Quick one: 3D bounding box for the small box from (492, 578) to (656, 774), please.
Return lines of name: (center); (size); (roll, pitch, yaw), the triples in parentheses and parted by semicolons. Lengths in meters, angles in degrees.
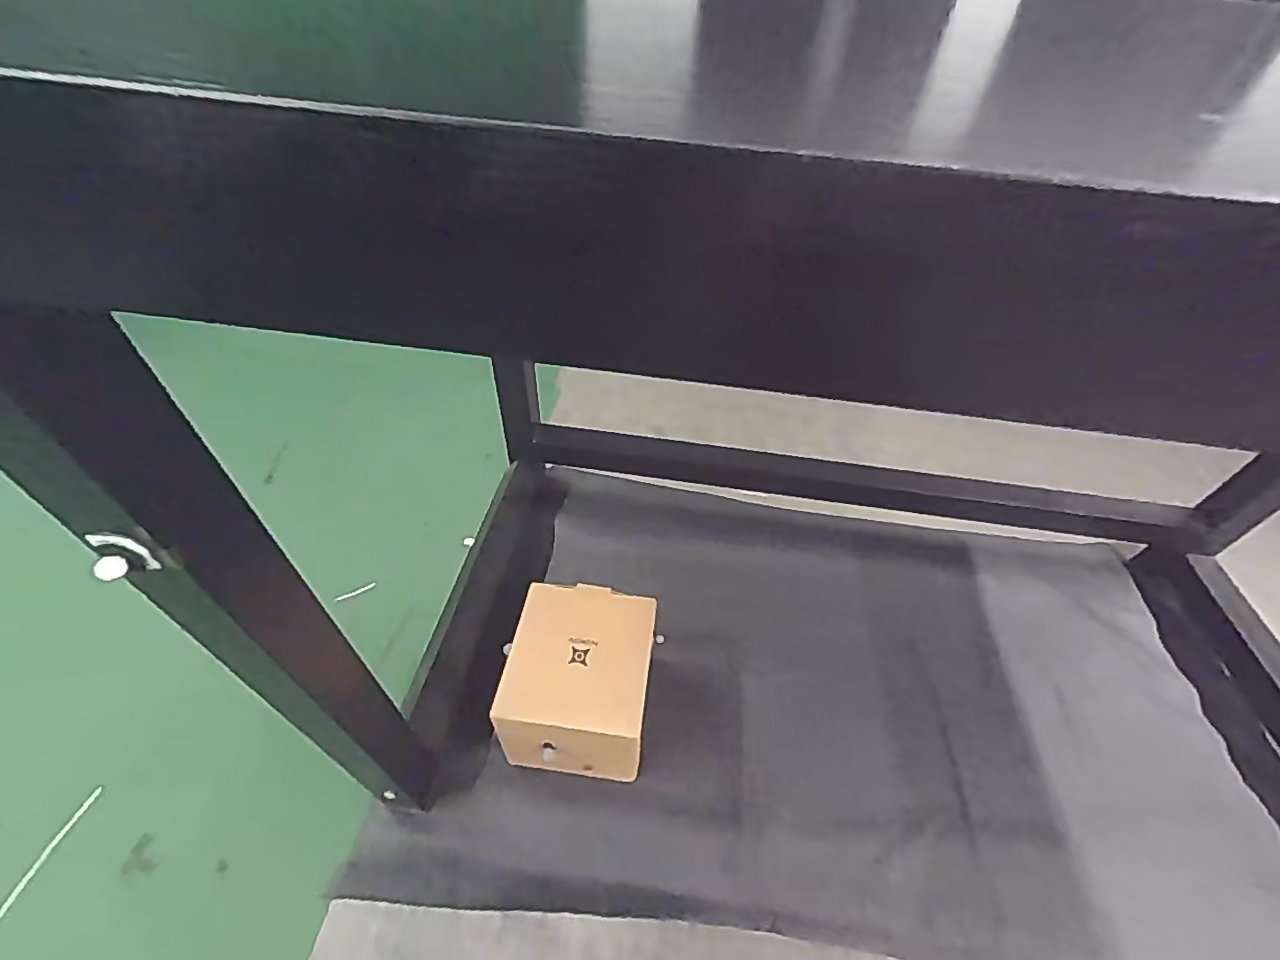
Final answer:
small box: (-0.072, 0.252, 0.691); (0.168, 0.176, 0.179); (7, 45, 3)
